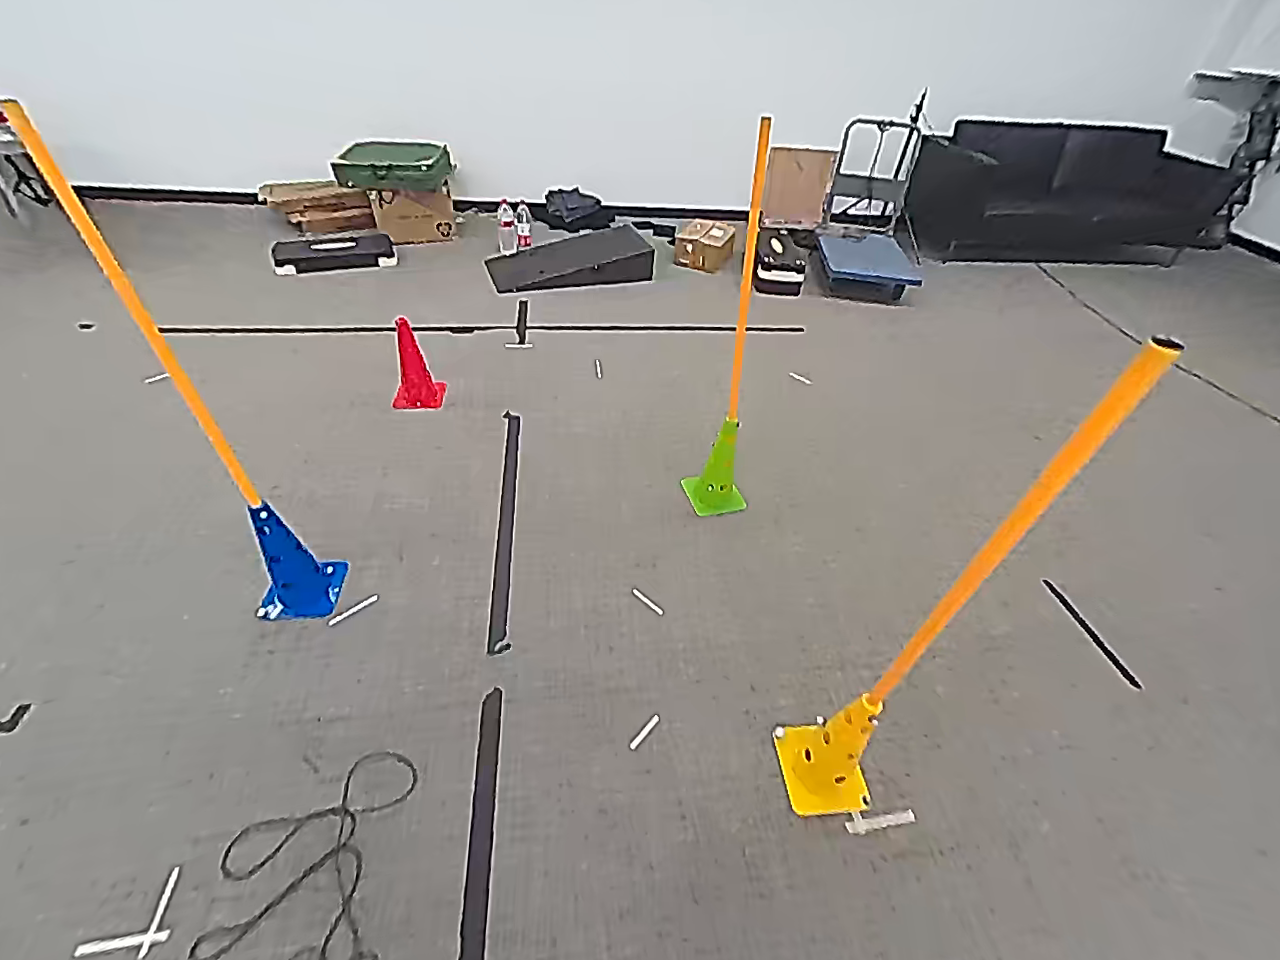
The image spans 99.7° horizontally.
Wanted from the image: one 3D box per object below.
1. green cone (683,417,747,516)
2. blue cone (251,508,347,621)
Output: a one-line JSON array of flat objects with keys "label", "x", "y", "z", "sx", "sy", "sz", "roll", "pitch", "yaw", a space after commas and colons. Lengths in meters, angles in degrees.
[{"label": "green cone", "x": 0.294, "y": -0.070, "z": 1.916, "sx": 0.200, "sy": 0.368, "sz": 0.202, "roll": -9, "pitch": 46, "yaw": -16}, {"label": "blue cone", "x": -0.971, "y": 0.211, "z": 1.486, "sx": 0.193, "sy": 0.380, "sz": 0.192, "roll": 0, "pitch": 43, "yaw": -6}]
